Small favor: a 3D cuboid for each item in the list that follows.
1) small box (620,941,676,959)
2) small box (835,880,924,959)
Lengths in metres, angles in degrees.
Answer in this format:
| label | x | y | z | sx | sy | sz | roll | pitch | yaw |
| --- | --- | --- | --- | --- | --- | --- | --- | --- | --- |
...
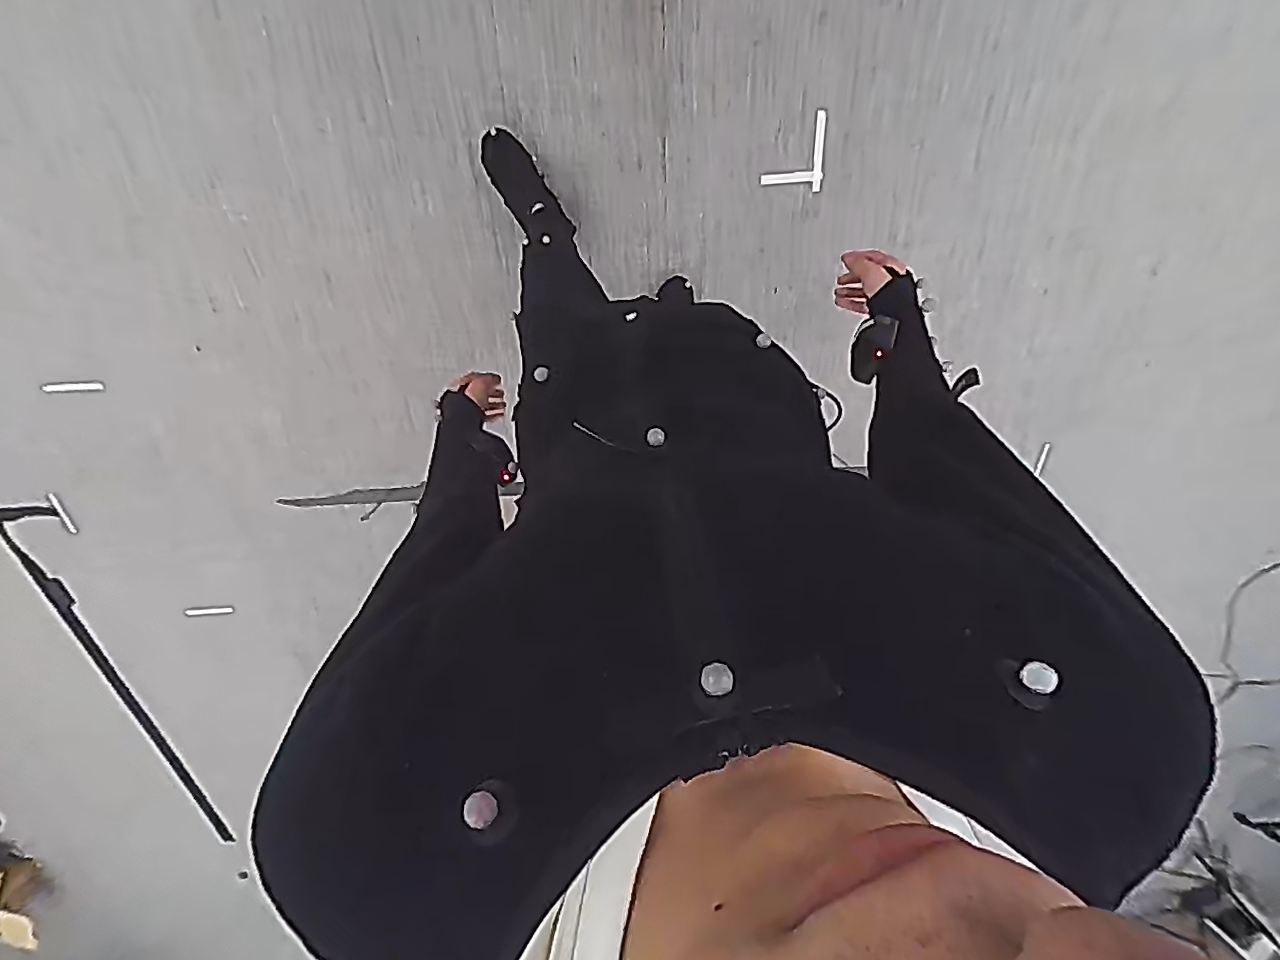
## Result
| label | x | y | z | sx | sy | sz | roll | pitch | yaw |
| --- | --- | --- | --- | --- | --- | --- | --- | --- | --- |
| small box | 0.026 | 1.560 | 1.661 | 0.179 | 0.176 | 0.168 | -3 | 117 | -4 |
| small box | 0.685 | 1.300 | 1.572 | 0.179 | 0.176 | 0.168 | -2 | 119 | -1 |
